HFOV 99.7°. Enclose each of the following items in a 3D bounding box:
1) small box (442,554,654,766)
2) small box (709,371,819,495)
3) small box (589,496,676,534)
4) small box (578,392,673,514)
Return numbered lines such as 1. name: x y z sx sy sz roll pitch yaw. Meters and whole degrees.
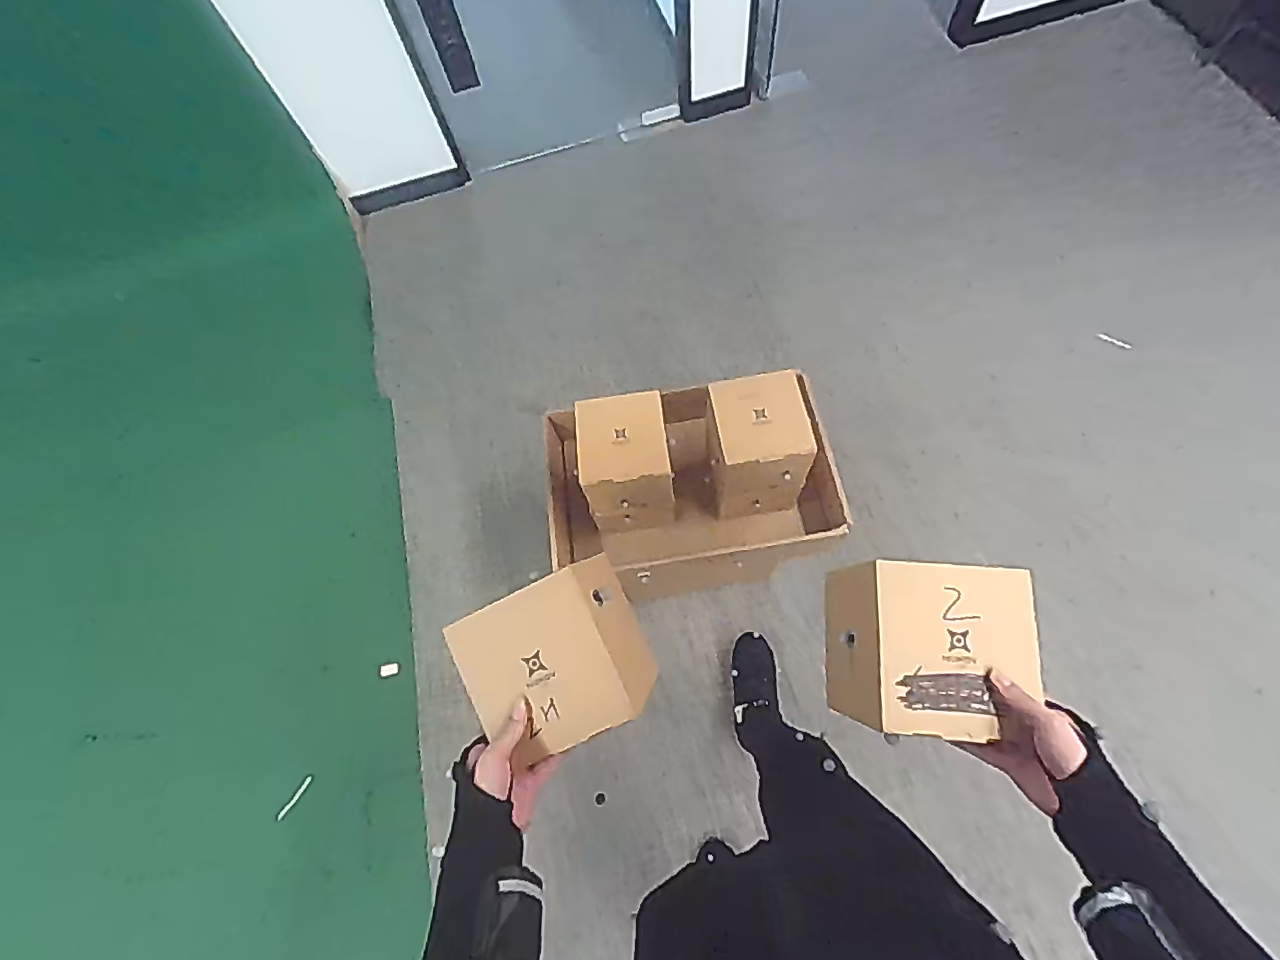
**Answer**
1. small box: -0.098 0.197 0.650 0.168 0.176 0.179 -26 83 8
2. small box: 0.229 -0.081 1.040 0.168 0.176 0.179 -8 66 1
3. small box: -0.017 0.013 1.208 0.179 0.176 0.168 -7 66 2
4. small box: -0.025 -0.048 1.056 0.168 0.176 0.179 -7 67 2
